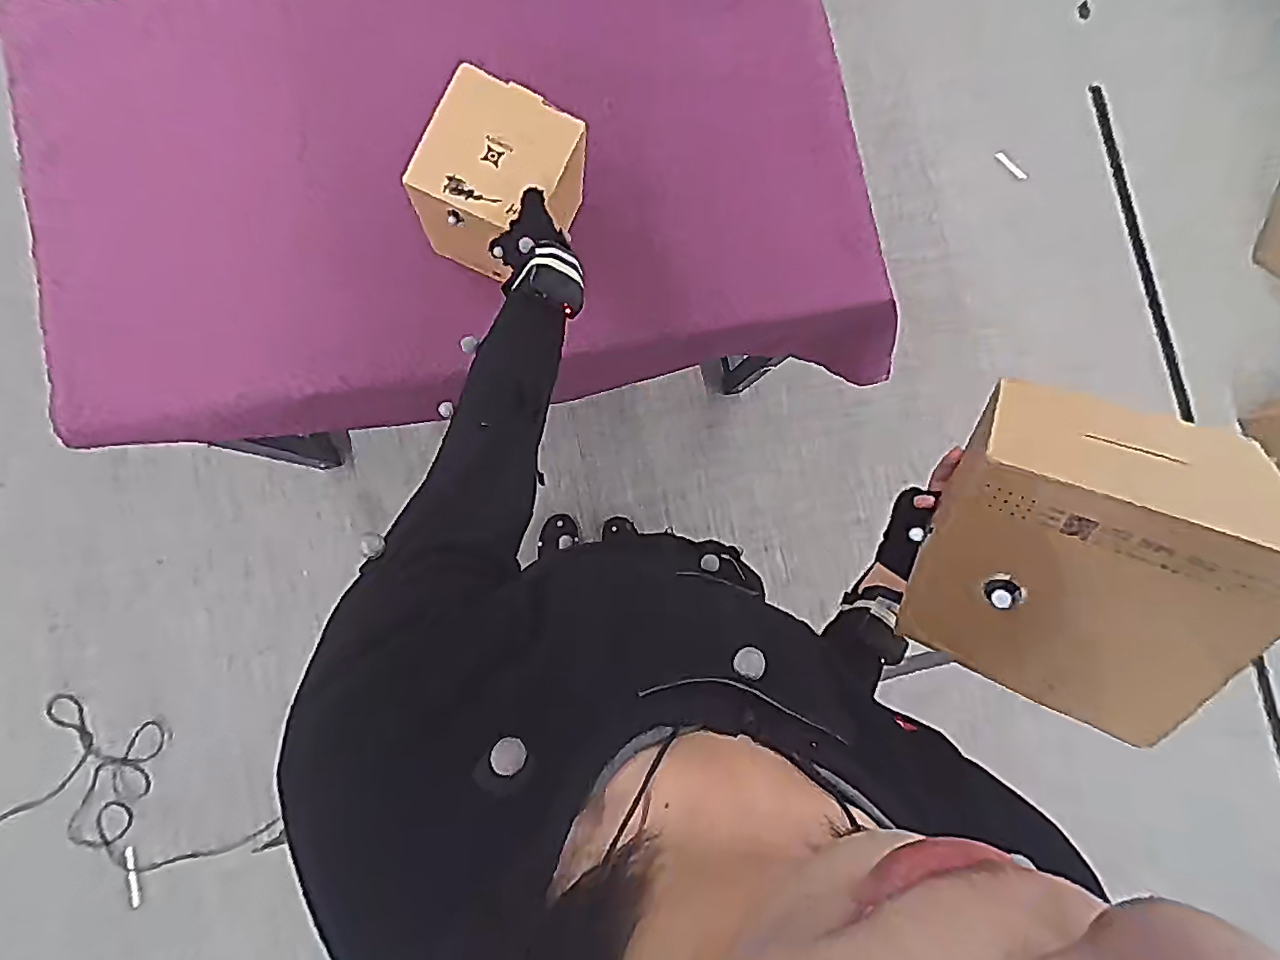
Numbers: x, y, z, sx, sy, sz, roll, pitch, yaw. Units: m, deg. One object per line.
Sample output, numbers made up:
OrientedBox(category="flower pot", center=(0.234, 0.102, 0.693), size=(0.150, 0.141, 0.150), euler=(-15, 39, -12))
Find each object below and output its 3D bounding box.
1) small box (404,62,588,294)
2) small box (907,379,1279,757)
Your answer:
OrientedBox(category="small box", center=(-0.183, -0.388, 0.726), size=(0.168, 0.176, 0.179), euler=(23, 81, -6))
OrientedBox(category="small box", center=(0.321, 0.045, 0.389), size=(0.168, 0.176, 0.179), euler=(26, 39, 23))
